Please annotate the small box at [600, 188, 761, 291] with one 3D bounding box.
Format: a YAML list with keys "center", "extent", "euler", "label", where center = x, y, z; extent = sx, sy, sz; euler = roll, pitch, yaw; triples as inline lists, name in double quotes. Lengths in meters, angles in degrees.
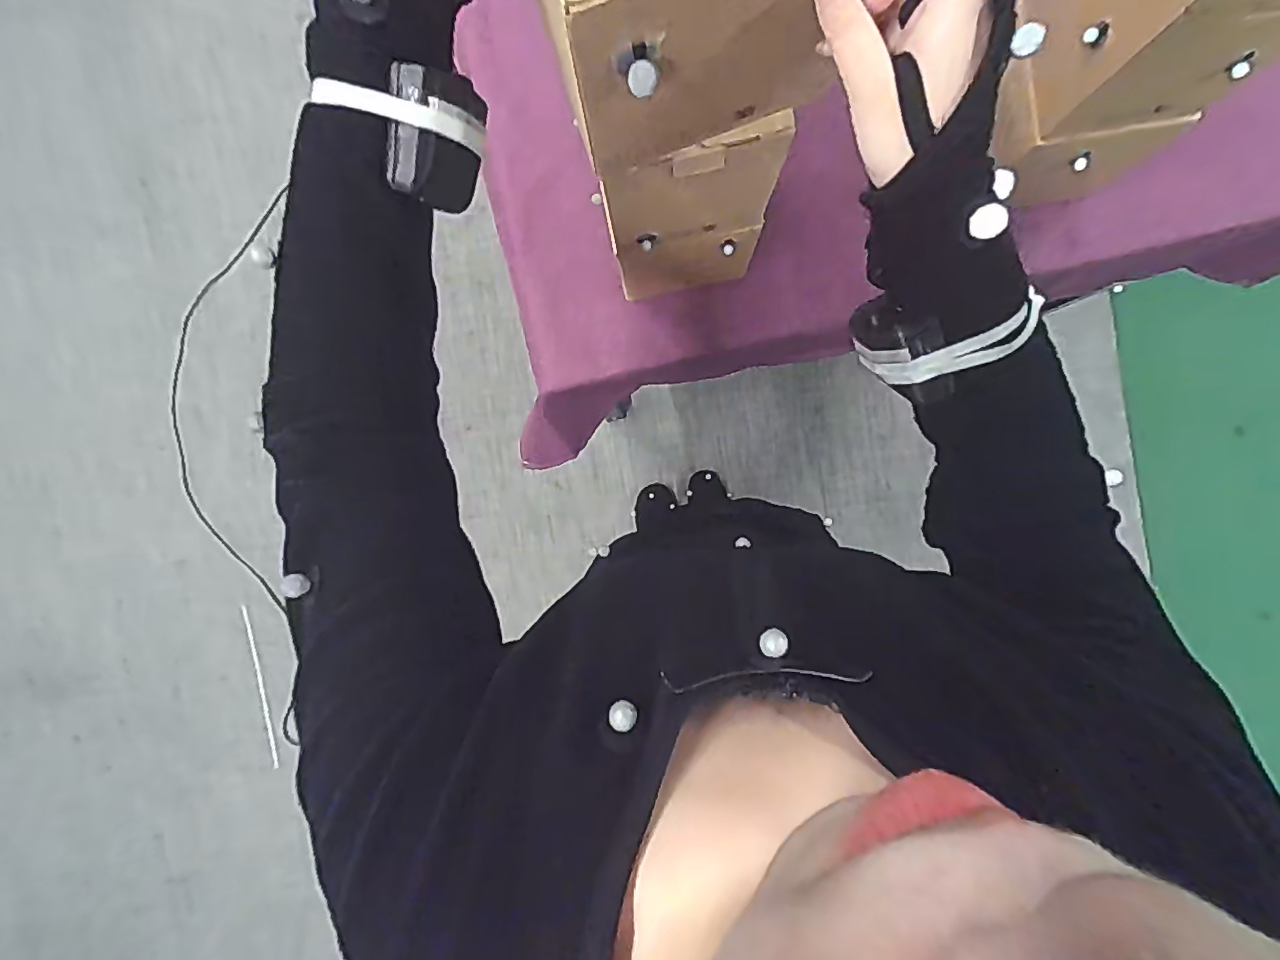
- center: [0.043, -0.360, 0.692]
  extent: [0.179, 0.176, 0.168]
  euler: [-11, 91, 3]
  label: "small box"

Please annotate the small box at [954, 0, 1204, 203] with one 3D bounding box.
- center: [0.509, -0.462, 0.657]
  extent: [0.179, 0.176, 0.168]
  euler: [-7, 92, 4]
  label: "small box"

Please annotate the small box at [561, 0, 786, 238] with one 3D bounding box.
- center: [0.031, -0.360, 0.528]
  extent: [0.168, 0.176, 0.179]
  euler: [-12, 89, 3]
  label: "small box"

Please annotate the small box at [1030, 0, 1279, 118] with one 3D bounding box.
- center: [0.497, -0.467, 0.495]
  extent: [0.168, 0.176, 0.179]
  euler: [-7, 90, 3]
  label: "small box"
